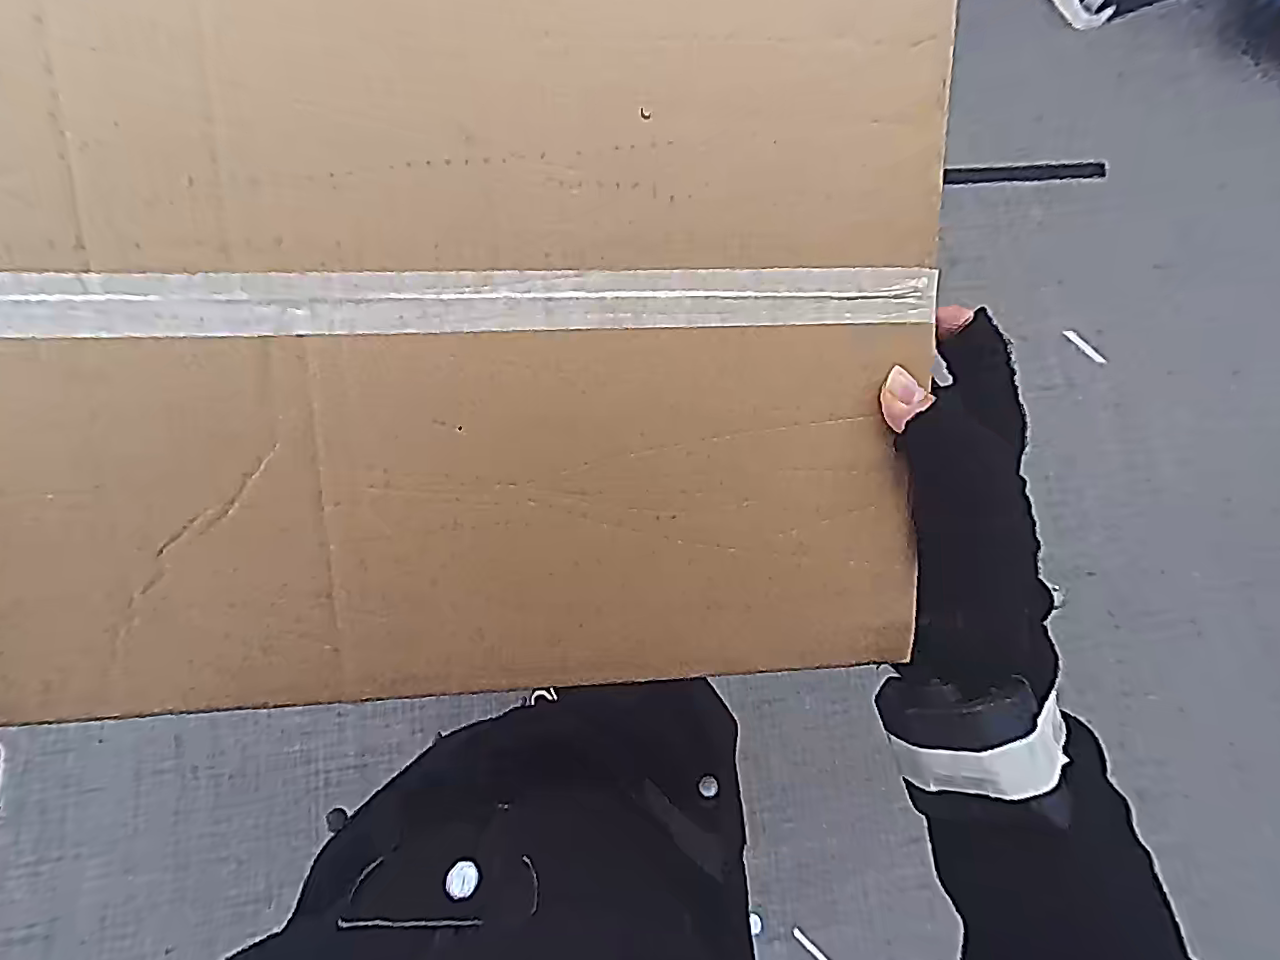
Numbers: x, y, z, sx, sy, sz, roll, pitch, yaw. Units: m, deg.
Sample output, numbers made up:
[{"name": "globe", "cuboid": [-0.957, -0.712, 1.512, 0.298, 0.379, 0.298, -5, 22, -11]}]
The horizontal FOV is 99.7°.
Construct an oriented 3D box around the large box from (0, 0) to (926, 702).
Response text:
[{"name": "large box", "cuboid": [-0.099, -0.091, 0.356, 0.408, 0.320, 0.320, -1, 99, -6]}]
